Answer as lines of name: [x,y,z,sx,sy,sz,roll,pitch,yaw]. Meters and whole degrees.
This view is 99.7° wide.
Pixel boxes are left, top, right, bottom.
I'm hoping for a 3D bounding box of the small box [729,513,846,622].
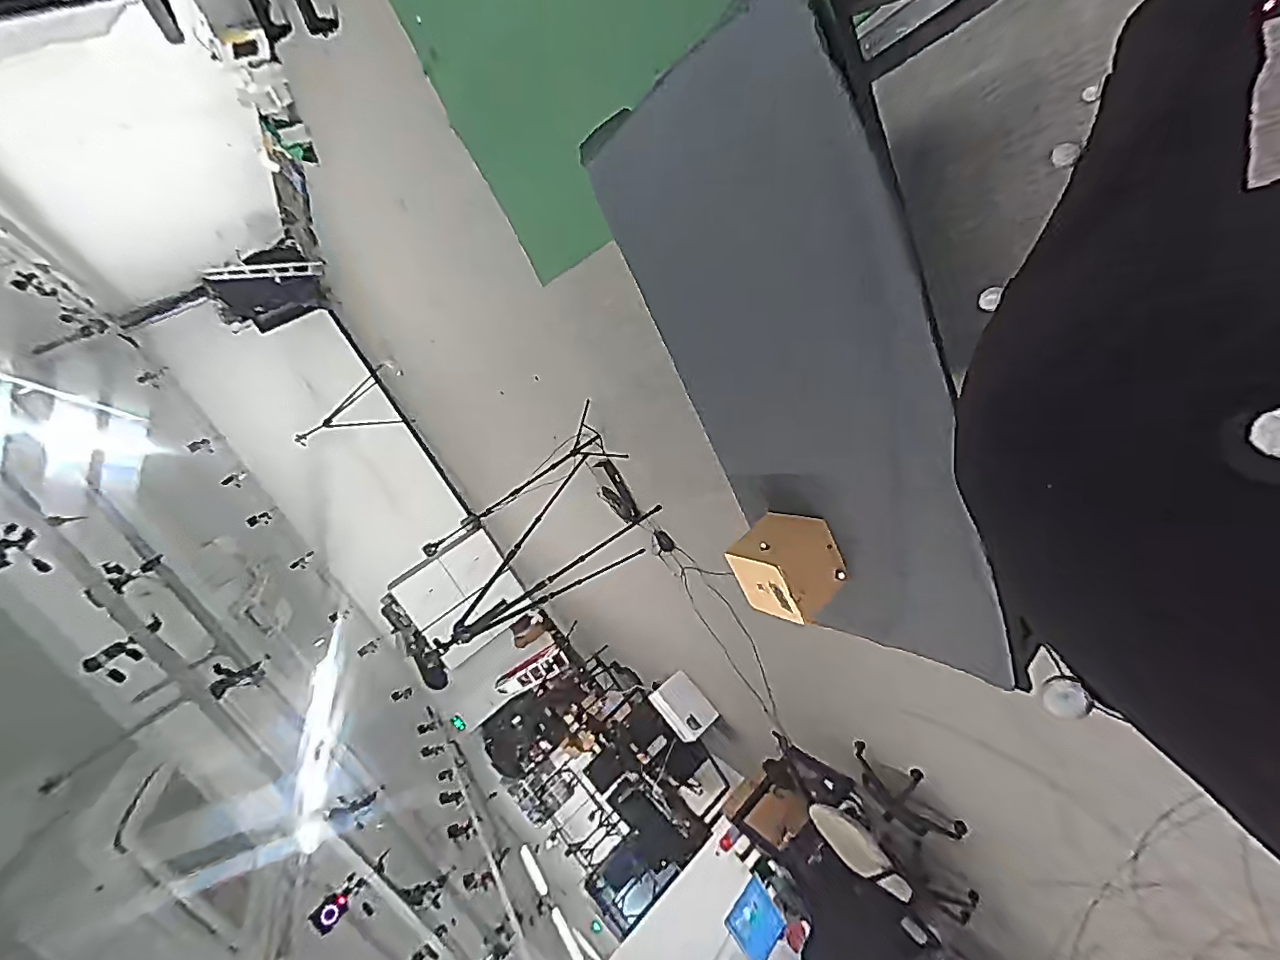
small box: [0.345,0.191,1.237,0.179,0.176,0.168,4,127,60]
